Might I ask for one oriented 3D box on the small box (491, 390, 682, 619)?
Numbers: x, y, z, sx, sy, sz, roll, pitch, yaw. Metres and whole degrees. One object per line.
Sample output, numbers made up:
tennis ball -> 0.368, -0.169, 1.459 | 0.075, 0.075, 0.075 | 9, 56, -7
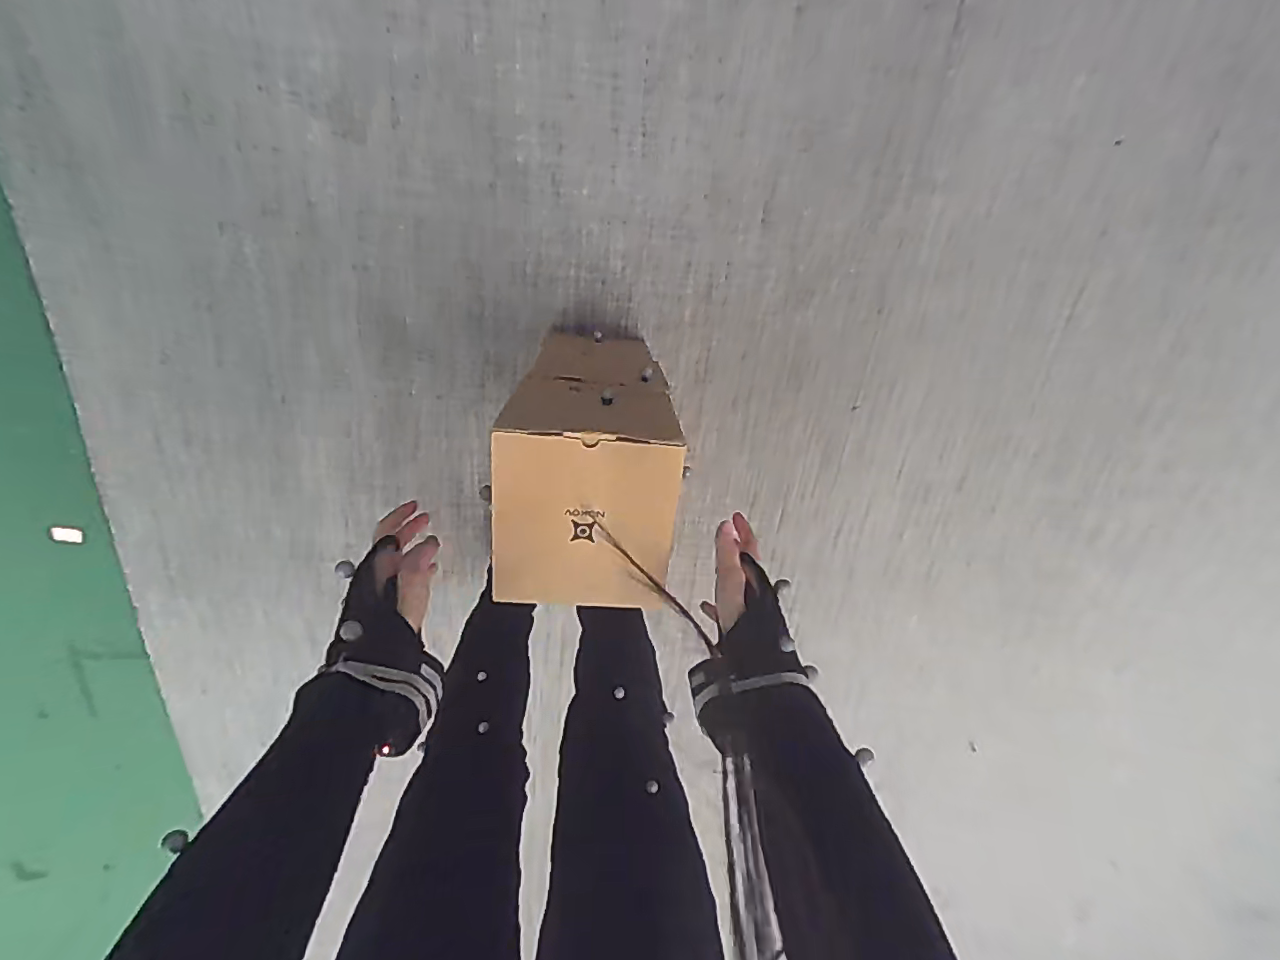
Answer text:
small box -> -0.055, 0.018, 0.563 | 0.168, 0.176, 0.179 | 4, 113, -5

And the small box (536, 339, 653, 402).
small box -> -0.075, -0.115, 0.860 | 0.168, 0.176, 0.179 | 4, 114, -6
